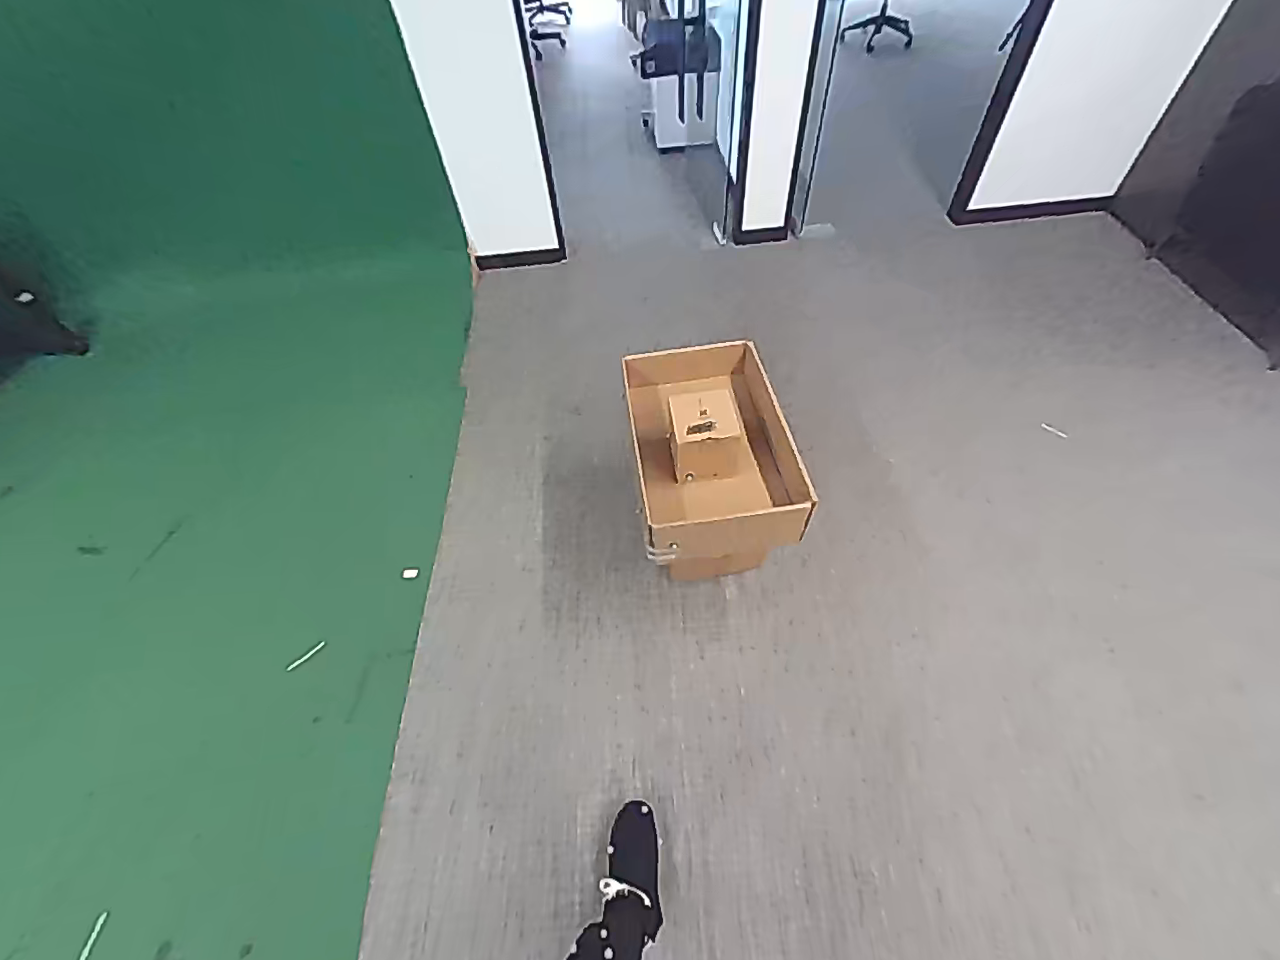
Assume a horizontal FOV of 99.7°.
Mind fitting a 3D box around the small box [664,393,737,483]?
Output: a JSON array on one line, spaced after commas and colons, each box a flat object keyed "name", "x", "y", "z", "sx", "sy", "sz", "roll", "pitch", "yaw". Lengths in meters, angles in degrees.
[{"name": "small box", "x": 0.159, "y": -0.106, "z": 1.452, "sx": 0.168, "sy": 0.176, "sz": 0.179, "roll": -7, "pitch": 51, "yaw": -1}]
